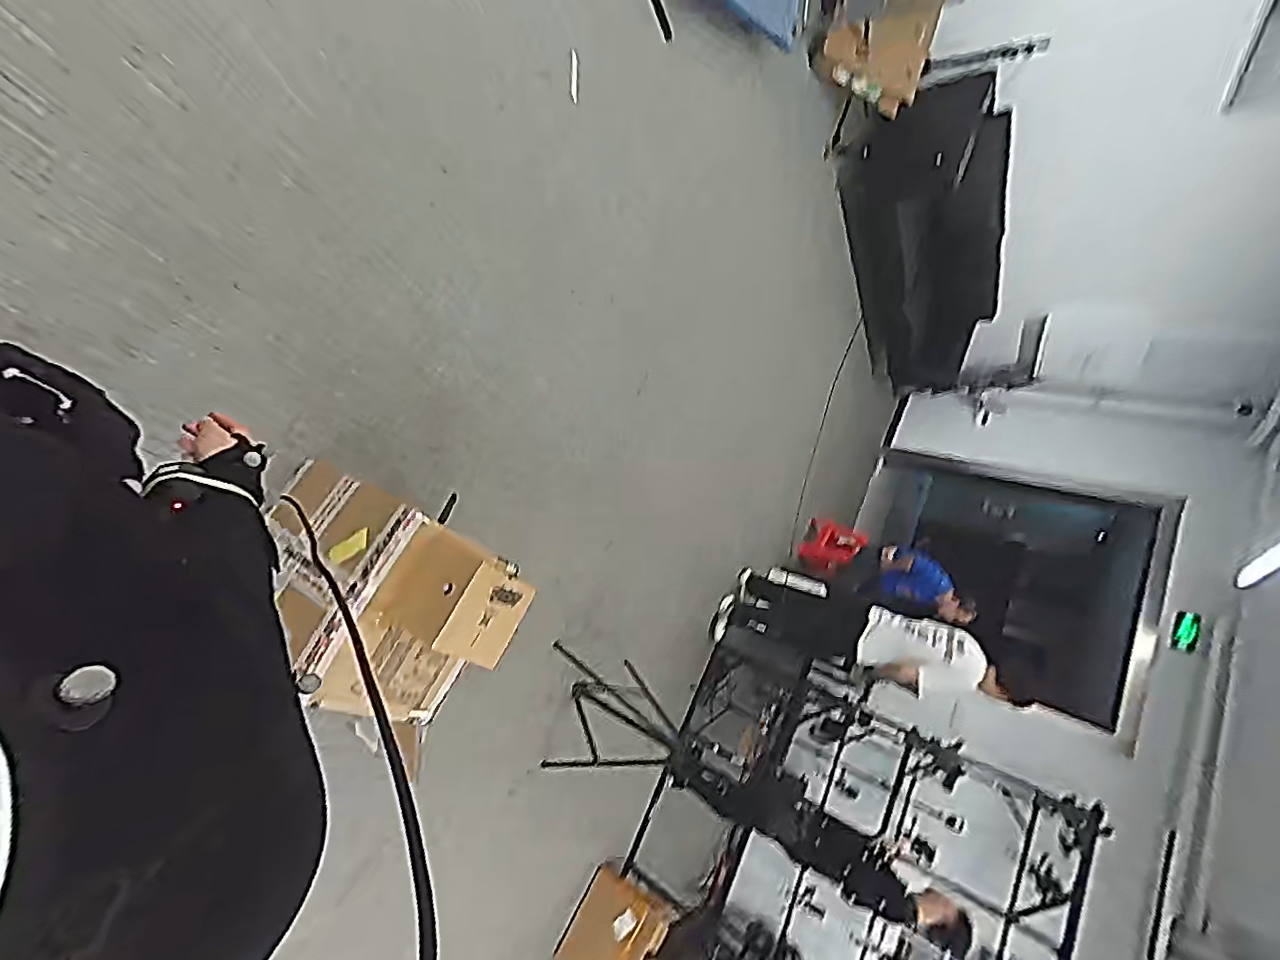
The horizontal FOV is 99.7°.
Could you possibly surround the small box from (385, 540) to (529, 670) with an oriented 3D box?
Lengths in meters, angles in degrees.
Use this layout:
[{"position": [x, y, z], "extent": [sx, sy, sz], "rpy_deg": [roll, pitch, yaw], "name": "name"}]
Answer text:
[{"position": [-0.361, 0.240, 1.065], "extent": [0.179, 0.176, 0.168], "rpy_deg": [-61, 141, -17], "name": "small box"}]
